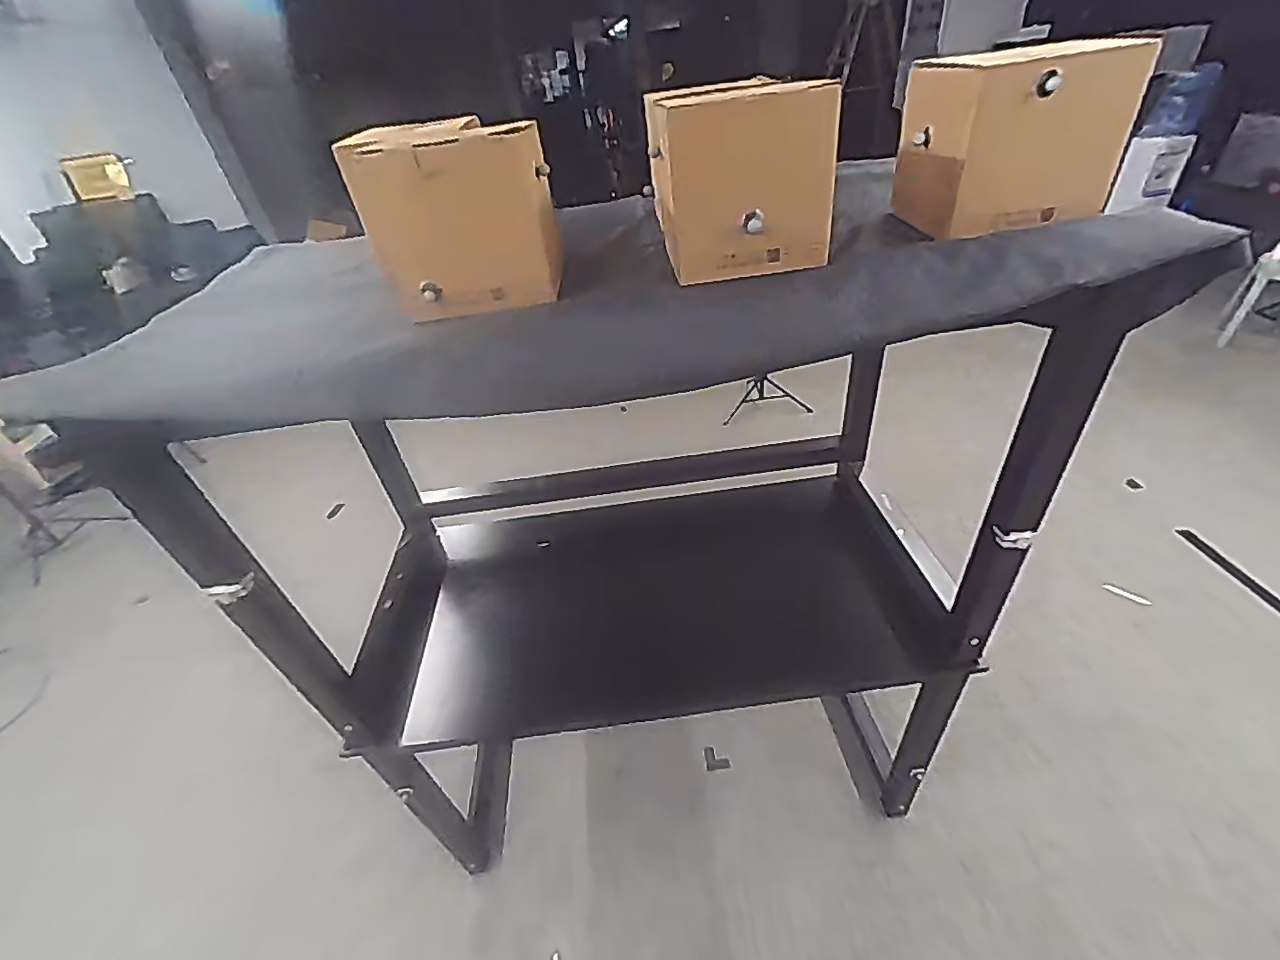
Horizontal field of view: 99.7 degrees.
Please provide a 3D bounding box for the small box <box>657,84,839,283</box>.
[{"bbox_3d":[0.111,-0.338,0.619,0.168,0.176,0.179,-7,36,2],"label":"small box"}]

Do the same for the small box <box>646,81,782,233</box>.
[{"bbox_3d":[0.106,-0.489,0.819,0.179,0.176,0.168,-6,37,2],"label":"small box"}]

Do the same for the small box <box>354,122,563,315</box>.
[{"bbox_3d":[-0.189,-0.300,0.628,0.168,0.176,0.179,-7,36,1],"label":"small box"}]

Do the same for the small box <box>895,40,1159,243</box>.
[{"bbox_3d":[0.416,-0.386,0.626,0.168,0.176,0.179,-6,37,4],"label":"small box"}]
